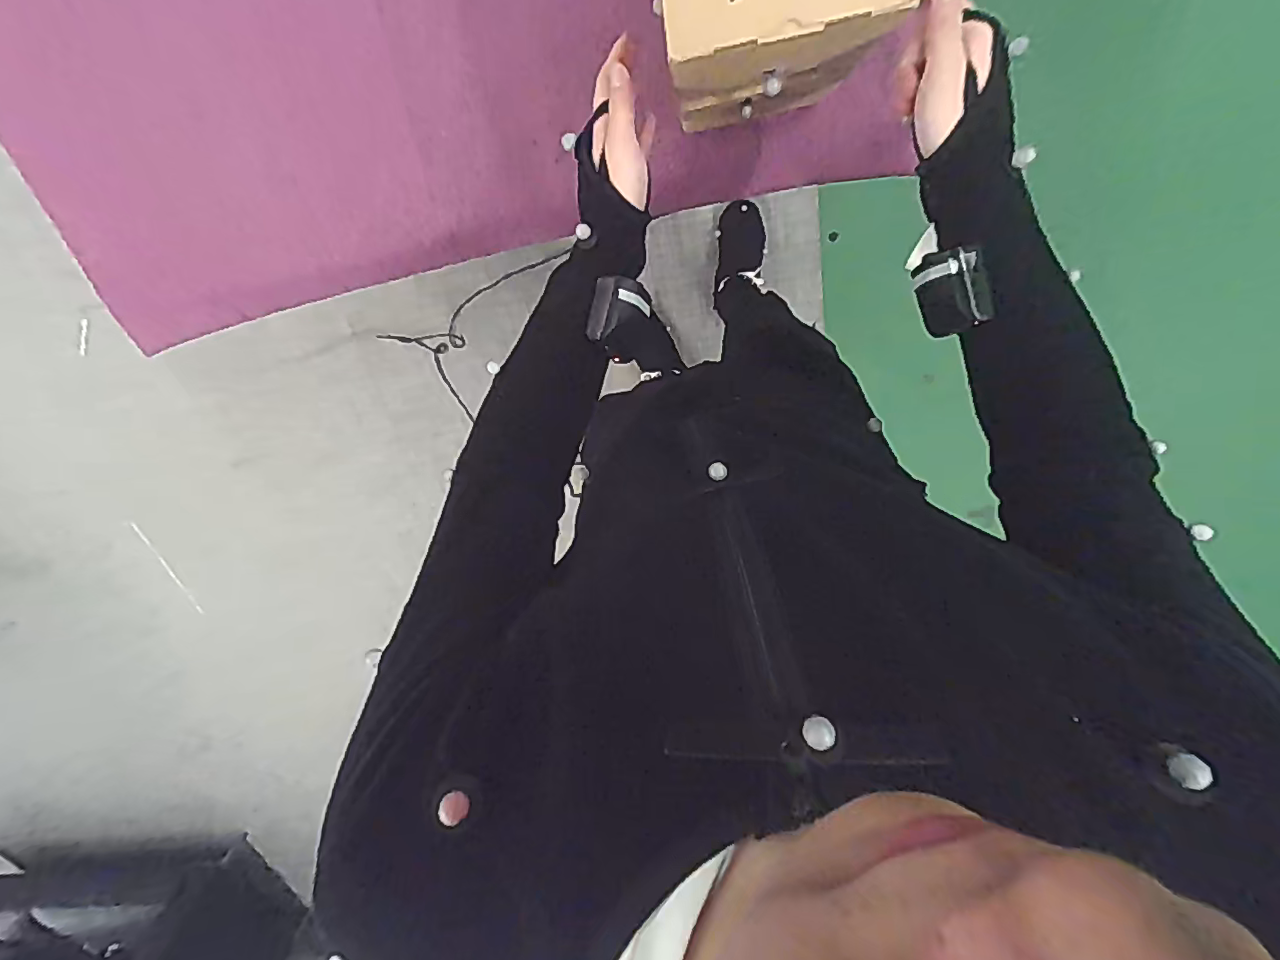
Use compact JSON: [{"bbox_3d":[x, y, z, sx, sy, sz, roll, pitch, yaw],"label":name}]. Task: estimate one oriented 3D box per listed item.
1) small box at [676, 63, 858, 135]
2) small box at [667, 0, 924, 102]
[{"bbox_3d":[0.115,-0.476,0.546,0.168,0.176,0.179,-7,115,10],"label":"small box"},{"bbox_3d":[0.098,-0.408,0.395,0.168,0.176,0.179,-5,116,10],"label":"small box"}]
